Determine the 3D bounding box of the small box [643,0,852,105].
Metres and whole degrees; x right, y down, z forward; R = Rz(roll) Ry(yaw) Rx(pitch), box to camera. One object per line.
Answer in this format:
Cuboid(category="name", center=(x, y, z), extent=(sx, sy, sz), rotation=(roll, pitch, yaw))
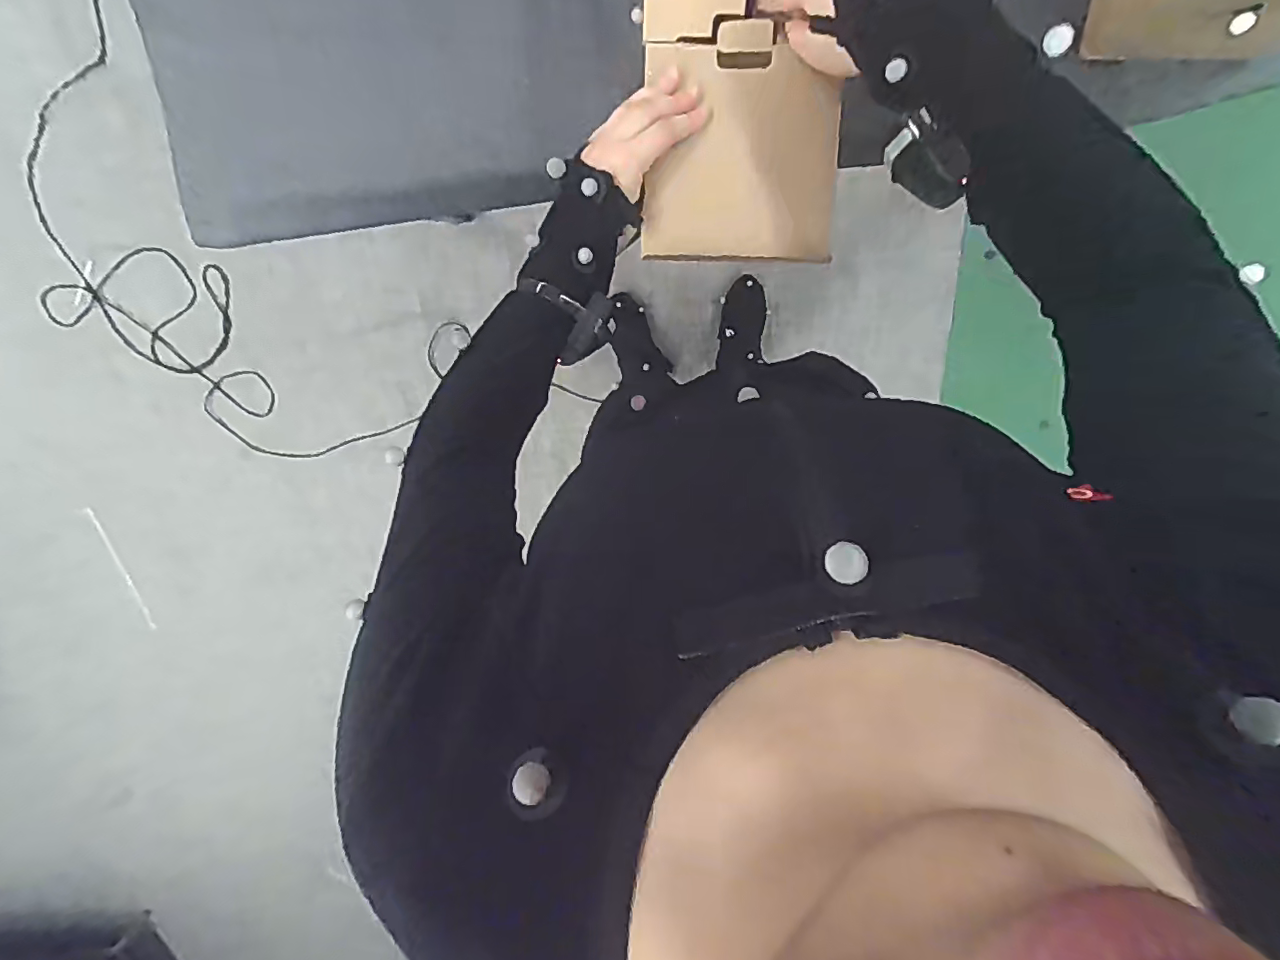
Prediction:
Cuboid(category="small box", center=(0.091, -0.453, 0.479), extent=(0.168, 0.176, 0.179), rotation=(2, 111, 3))
